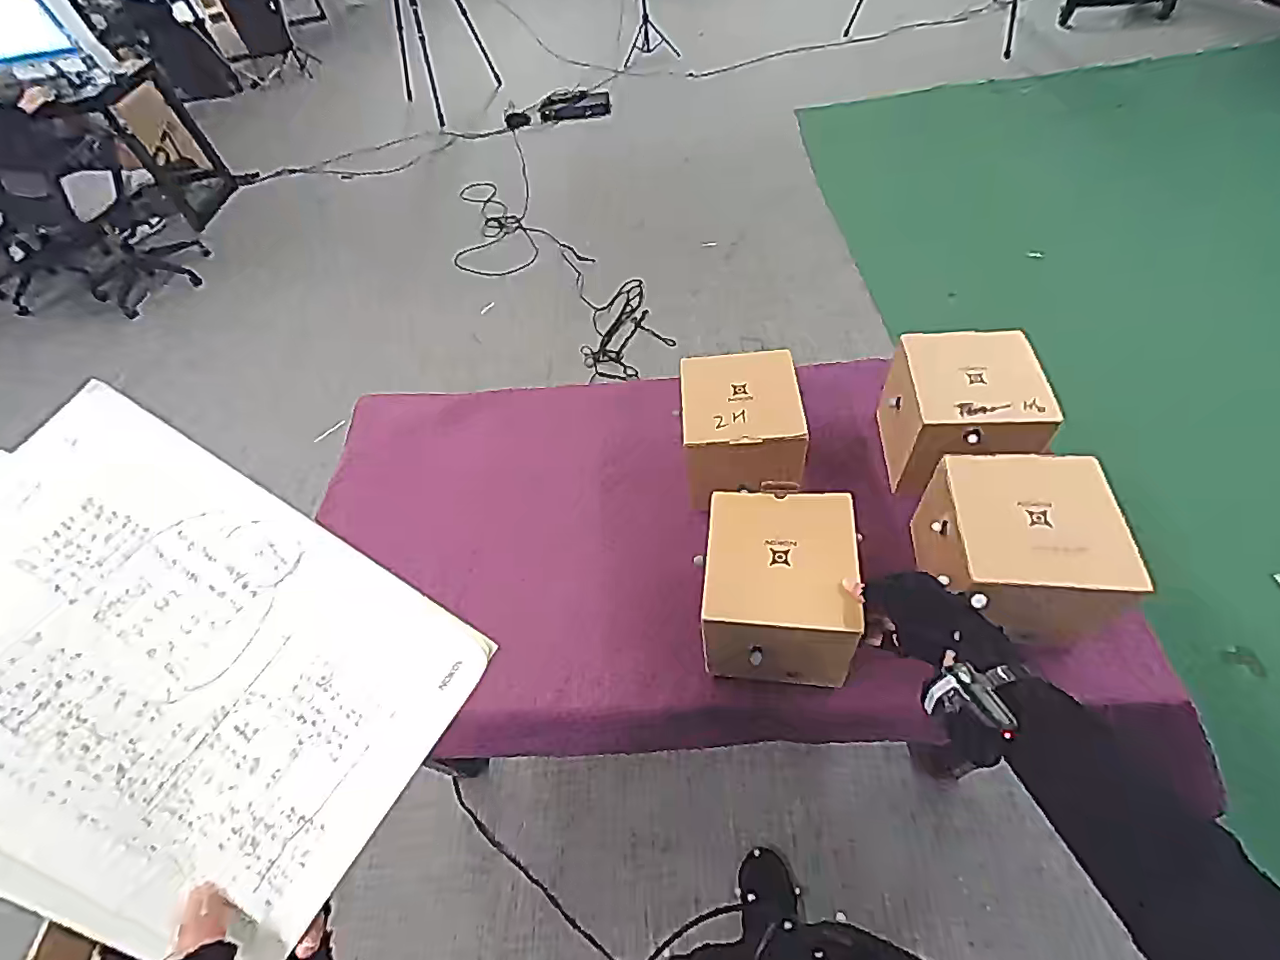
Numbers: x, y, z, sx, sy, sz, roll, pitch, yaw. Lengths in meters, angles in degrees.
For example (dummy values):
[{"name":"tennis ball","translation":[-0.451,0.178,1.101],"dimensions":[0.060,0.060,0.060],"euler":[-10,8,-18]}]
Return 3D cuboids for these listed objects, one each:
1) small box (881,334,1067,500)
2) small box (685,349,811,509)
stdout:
[{"name":"small box","translation":[0.464,-0.091,0.789],"dimensions":[0.168,0.176,0.179],"euler":[1,54,10]},{"name":"small box","translation":[0.154,-0.074,0.824],"dimensions":[0.168,0.176,0.179],"euler":[-3,54,7]}]
